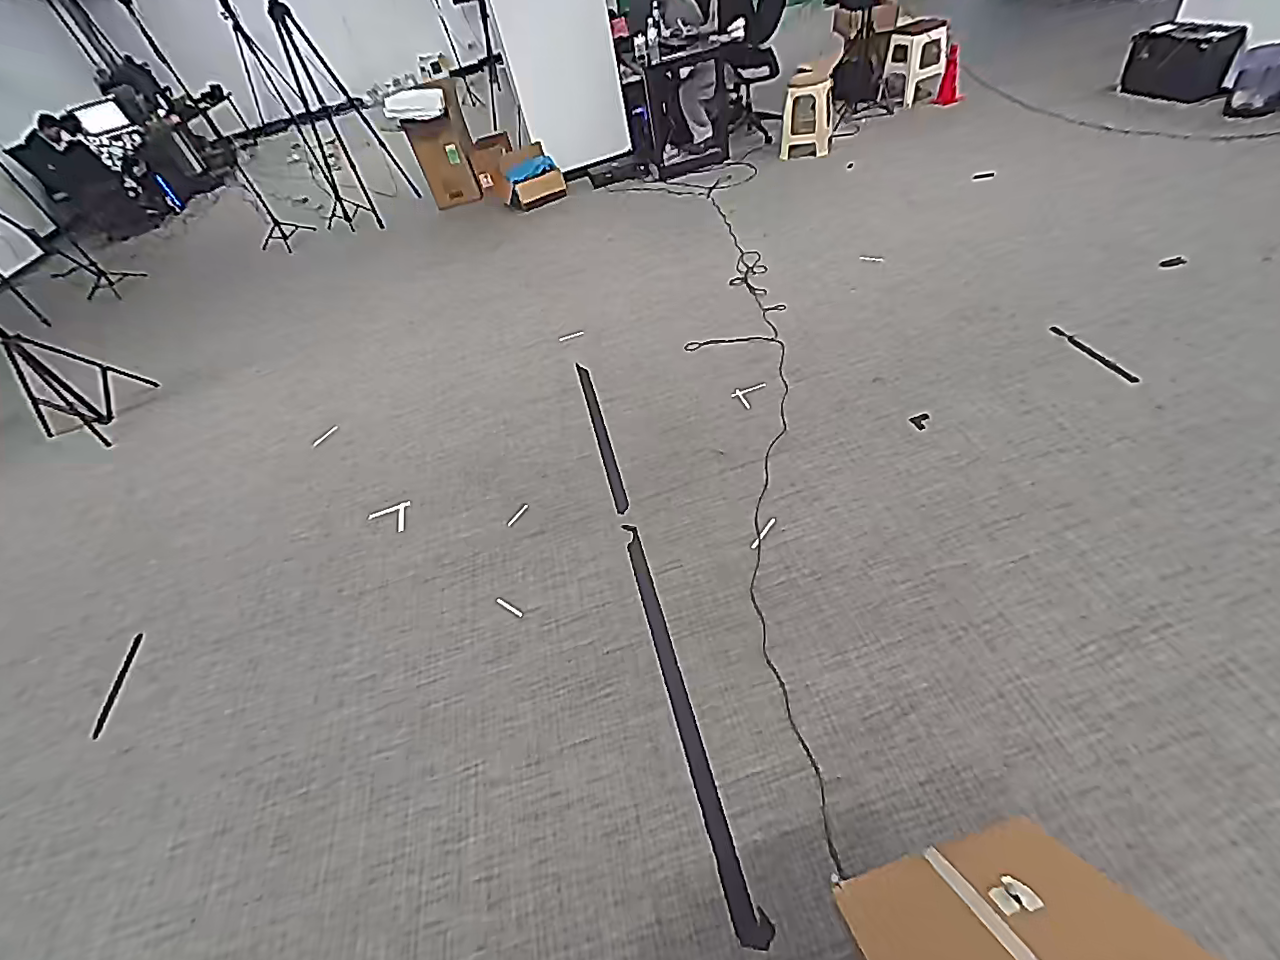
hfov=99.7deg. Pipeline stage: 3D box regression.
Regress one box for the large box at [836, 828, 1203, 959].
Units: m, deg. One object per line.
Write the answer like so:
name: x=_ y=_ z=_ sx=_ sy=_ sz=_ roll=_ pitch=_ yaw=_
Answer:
large box: x=0.483 y=0.690 z=0.597 sx=0.320 sy=0.408 sz=0.320 roll=-18 pitch=83 yaw=-2
